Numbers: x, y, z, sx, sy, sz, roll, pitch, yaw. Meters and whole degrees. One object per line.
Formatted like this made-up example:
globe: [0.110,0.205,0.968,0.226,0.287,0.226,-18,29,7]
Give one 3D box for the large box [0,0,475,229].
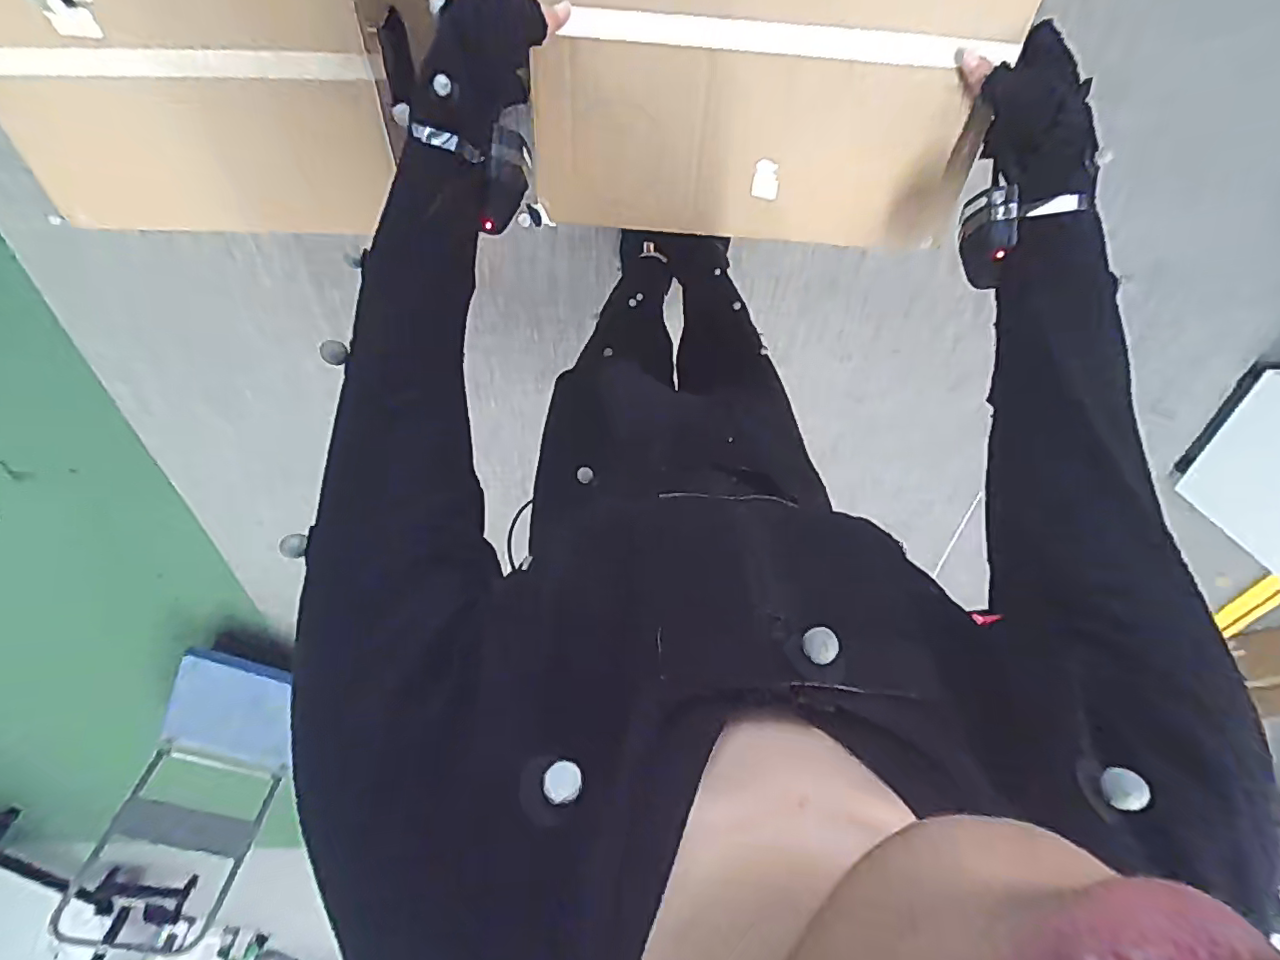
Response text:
large box: [-0.455,-0.513,0.635,0.408,0.320,0.320,3,132,1]
